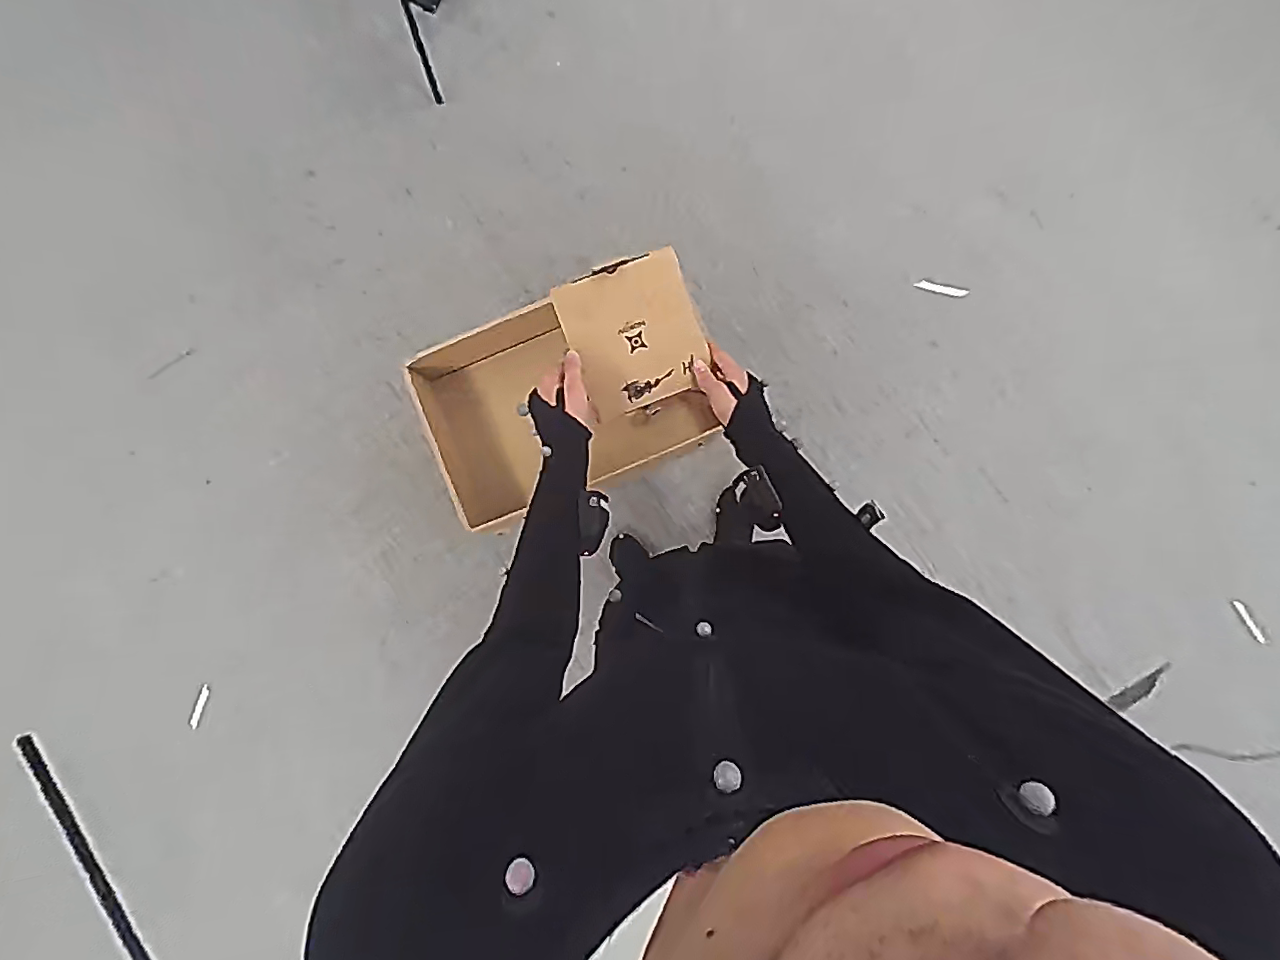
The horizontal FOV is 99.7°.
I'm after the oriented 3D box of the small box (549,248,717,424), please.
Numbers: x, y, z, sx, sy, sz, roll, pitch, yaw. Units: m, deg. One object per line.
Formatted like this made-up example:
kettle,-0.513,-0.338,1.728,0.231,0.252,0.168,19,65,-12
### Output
small box,-0.012,-0.184,0.744,0.168,0.176,0.179,-21,97,1
